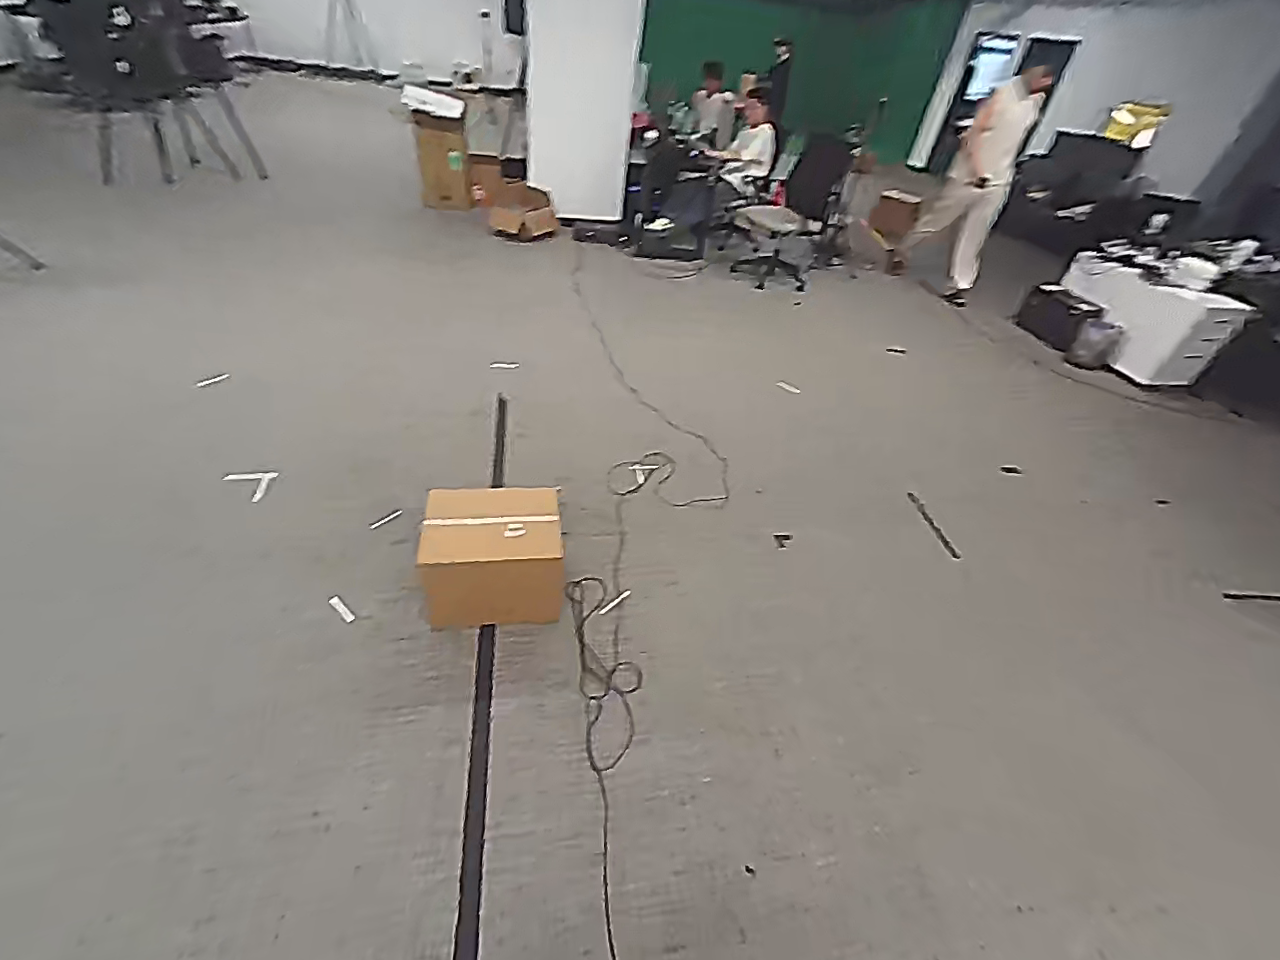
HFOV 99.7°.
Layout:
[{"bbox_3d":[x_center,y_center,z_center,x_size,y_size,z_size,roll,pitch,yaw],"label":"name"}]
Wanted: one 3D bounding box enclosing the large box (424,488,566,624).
[{"bbox_3d":[-0.456,0.241,1.750,0.408,0.320,0.320,0,41,-12],"label":"large box"}]
